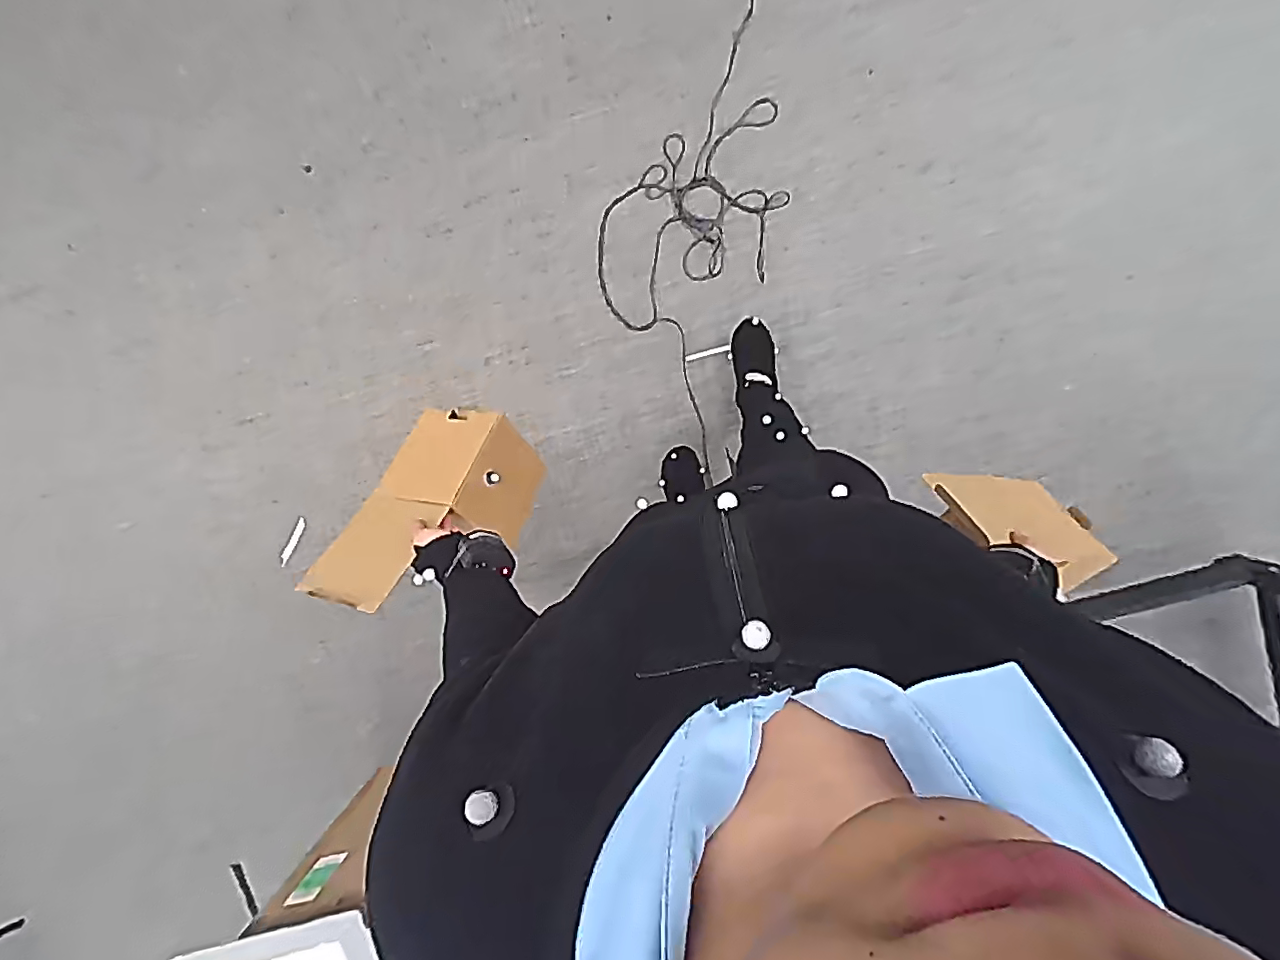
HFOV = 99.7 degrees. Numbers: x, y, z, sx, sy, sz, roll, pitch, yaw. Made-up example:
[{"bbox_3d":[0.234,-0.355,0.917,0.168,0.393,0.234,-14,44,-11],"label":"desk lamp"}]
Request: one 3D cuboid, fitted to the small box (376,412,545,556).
[{"bbox_3d":[-0.282,0.008,0.891,0.168,0.176,0.179,5,59,26],"label":"small box"}]
